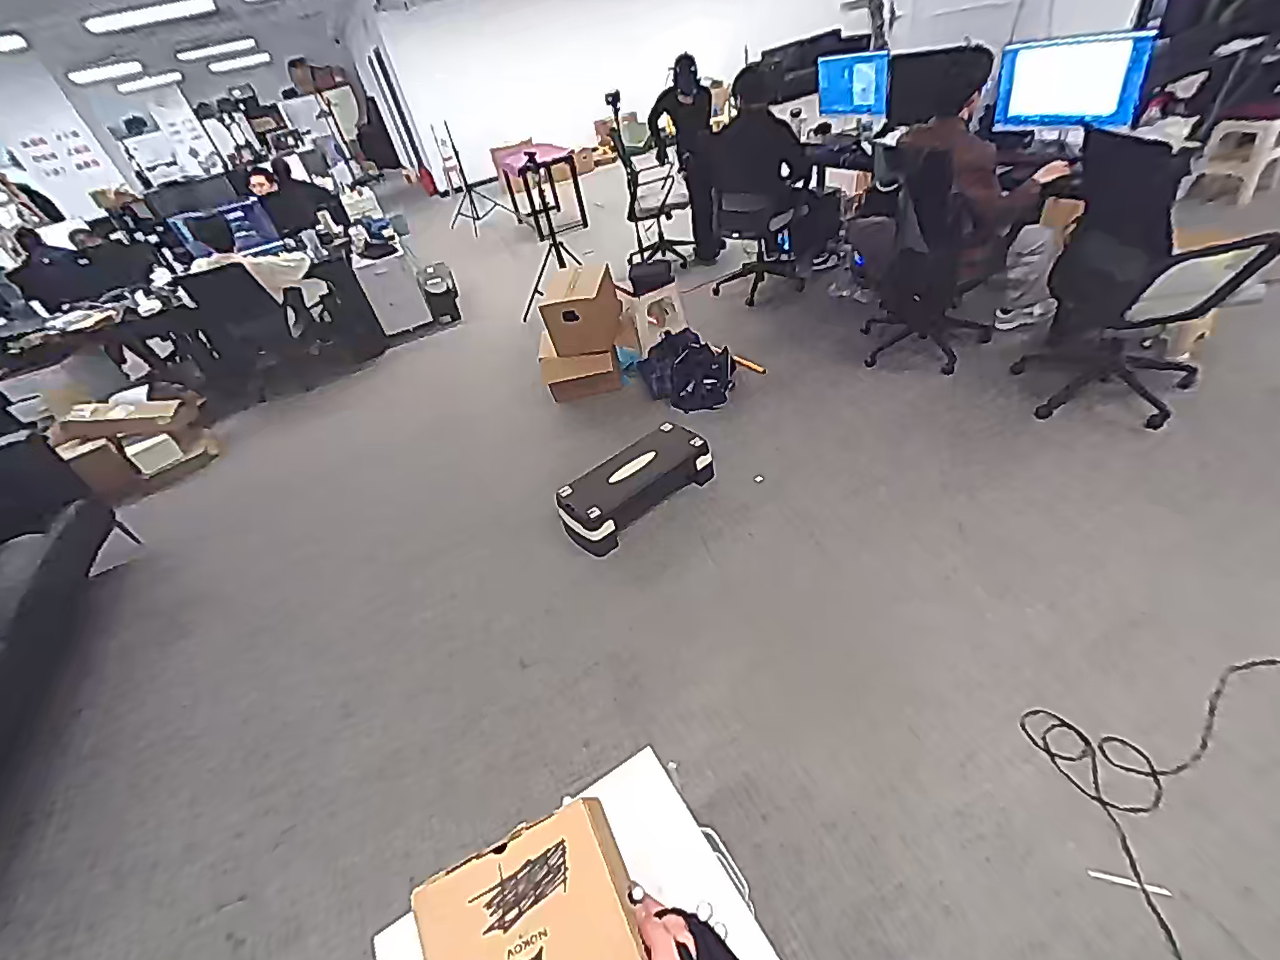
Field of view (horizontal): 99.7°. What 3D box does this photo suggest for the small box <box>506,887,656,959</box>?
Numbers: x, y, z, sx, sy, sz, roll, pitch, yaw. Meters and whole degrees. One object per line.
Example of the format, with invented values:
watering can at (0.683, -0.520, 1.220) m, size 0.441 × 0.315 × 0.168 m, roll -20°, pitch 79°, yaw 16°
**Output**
small box at (-0.047, 0.655, 0.655) m, size 0.168 × 0.176 × 0.179 m, roll -25°, pitch 38°, yaw -16°
